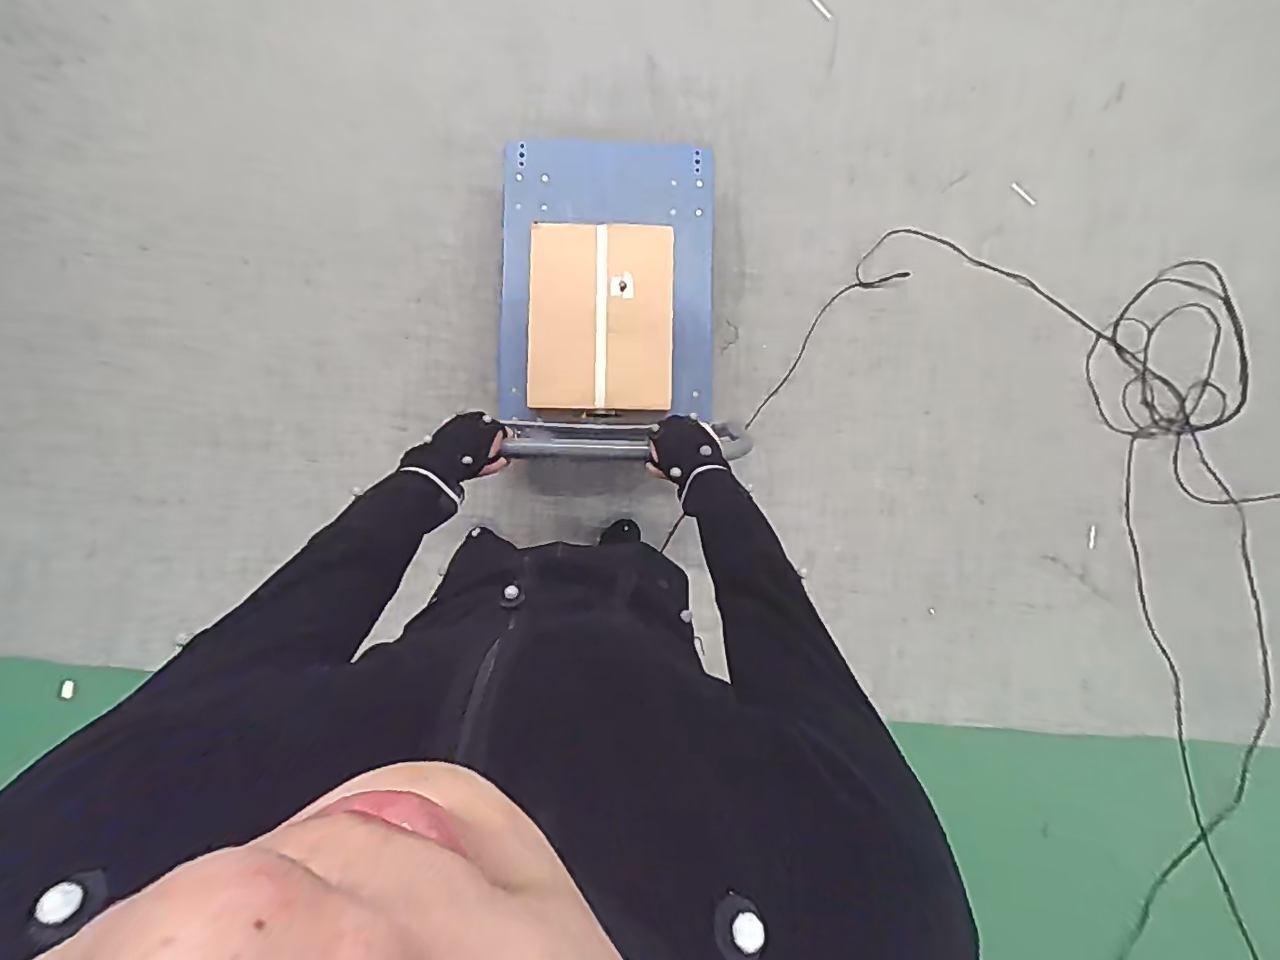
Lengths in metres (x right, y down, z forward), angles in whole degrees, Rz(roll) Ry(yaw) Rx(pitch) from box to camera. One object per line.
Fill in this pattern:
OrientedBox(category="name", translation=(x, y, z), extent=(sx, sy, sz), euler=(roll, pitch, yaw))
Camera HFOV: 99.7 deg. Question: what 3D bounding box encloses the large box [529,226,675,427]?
OrientedBox(category="large box", translation=(-0.083, -0.345, 1.312), extent=(0.320, 0.320, 0.408), euler=(1, 88, -2))
